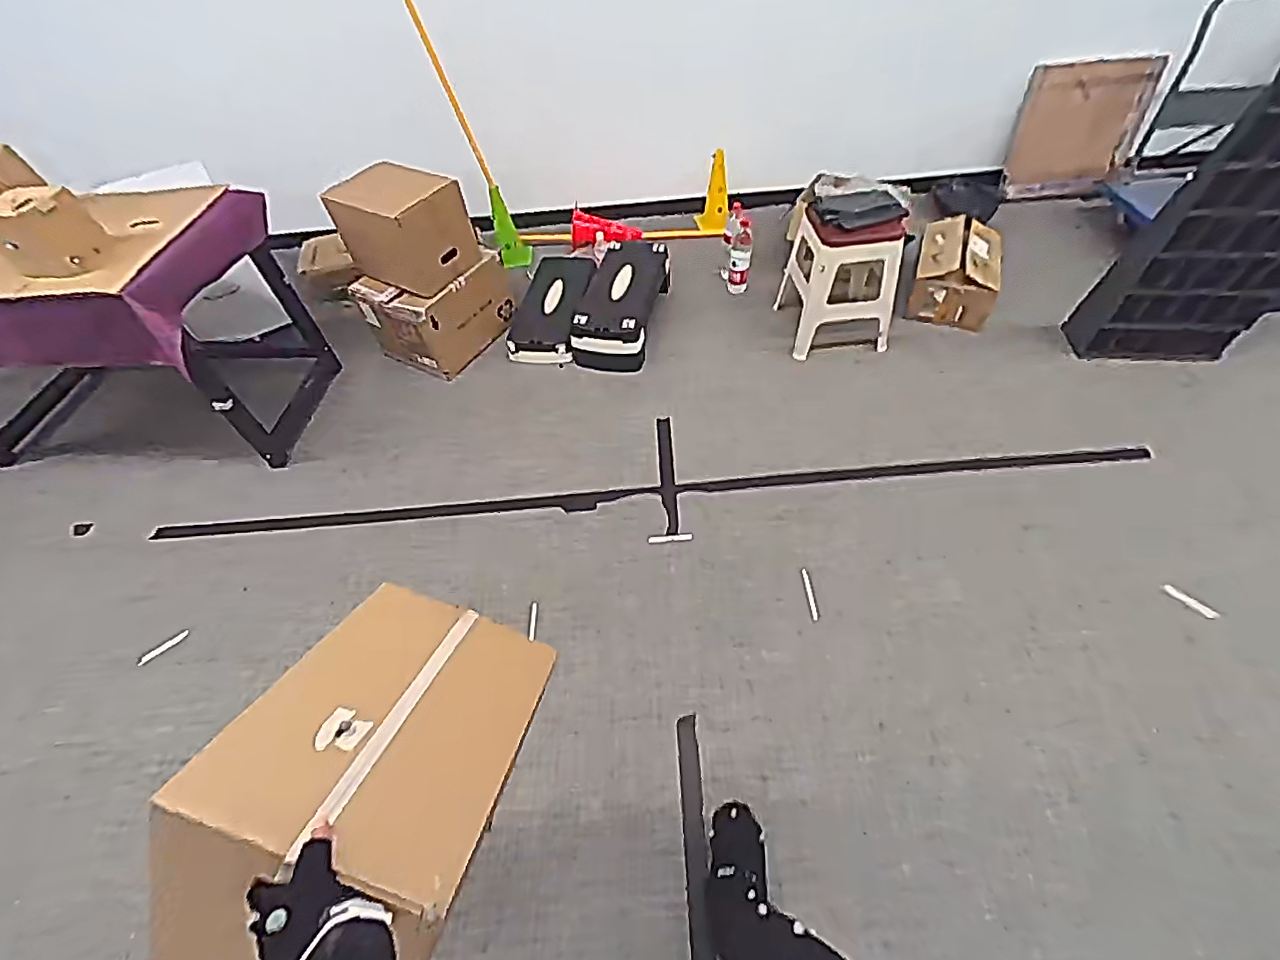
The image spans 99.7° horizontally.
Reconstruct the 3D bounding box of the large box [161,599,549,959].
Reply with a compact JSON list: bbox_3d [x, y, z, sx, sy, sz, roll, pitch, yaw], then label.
[{"bbox_3d":[-0.367,0.452,0.780,0.320,0.320,0.408,21,22,0],"label":"large box"}]
